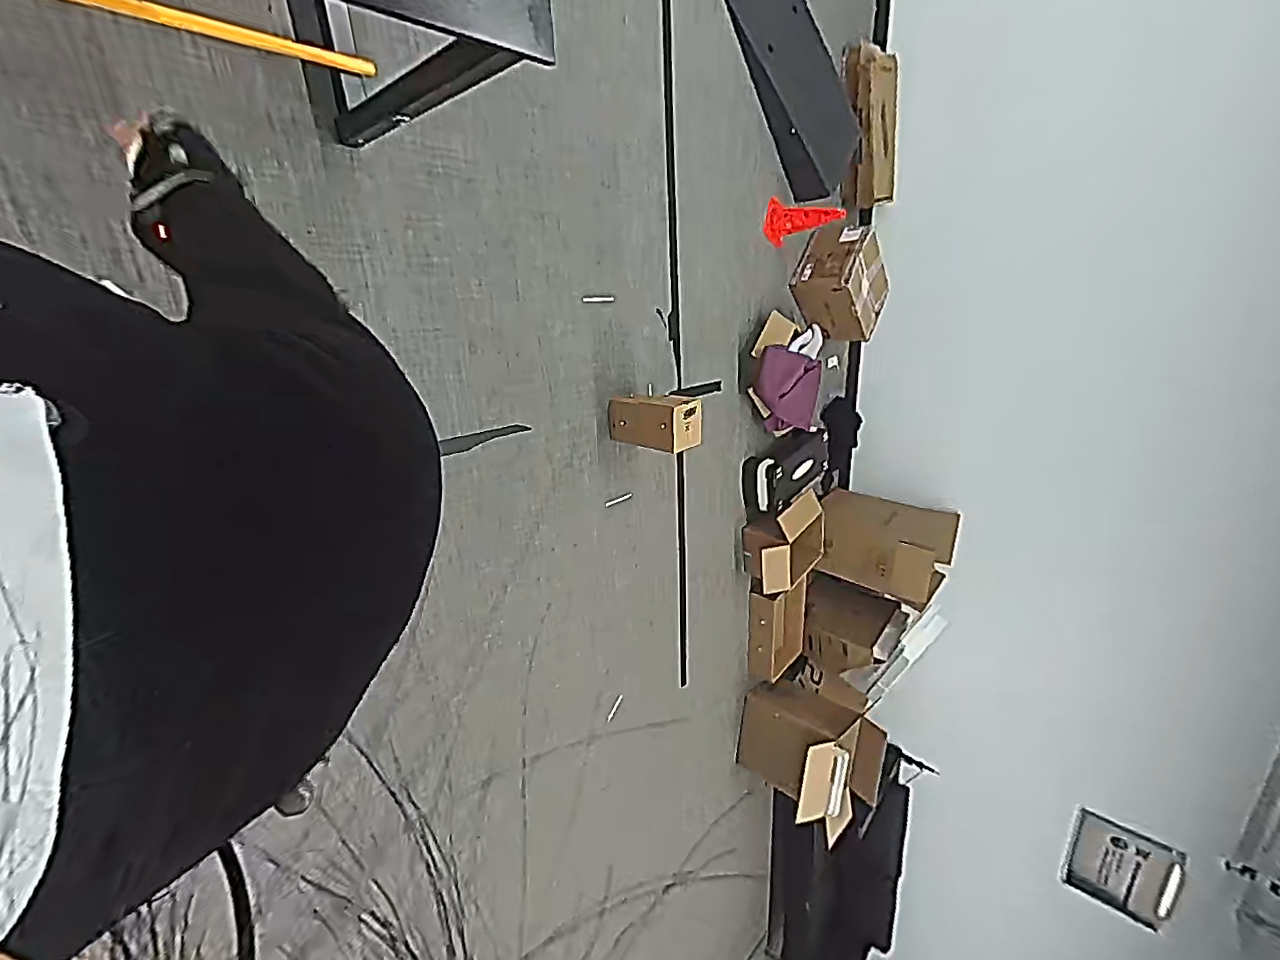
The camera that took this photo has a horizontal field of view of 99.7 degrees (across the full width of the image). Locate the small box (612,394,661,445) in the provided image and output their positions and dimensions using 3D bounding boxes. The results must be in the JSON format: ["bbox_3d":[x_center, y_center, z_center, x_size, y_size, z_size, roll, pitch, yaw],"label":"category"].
[{"bbox_3d":[0.000,-0.244,2.141,0.179,0.176,0.168,-19,115,-44],"label":"small box"}]

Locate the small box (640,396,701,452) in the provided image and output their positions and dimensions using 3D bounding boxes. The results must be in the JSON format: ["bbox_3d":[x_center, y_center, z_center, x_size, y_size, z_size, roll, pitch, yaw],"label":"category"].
[{"bbox_3d":[0.111,-0.217,2.019,0.168,0.176,0.179,-22,118,-43],"label":"small box"}]
